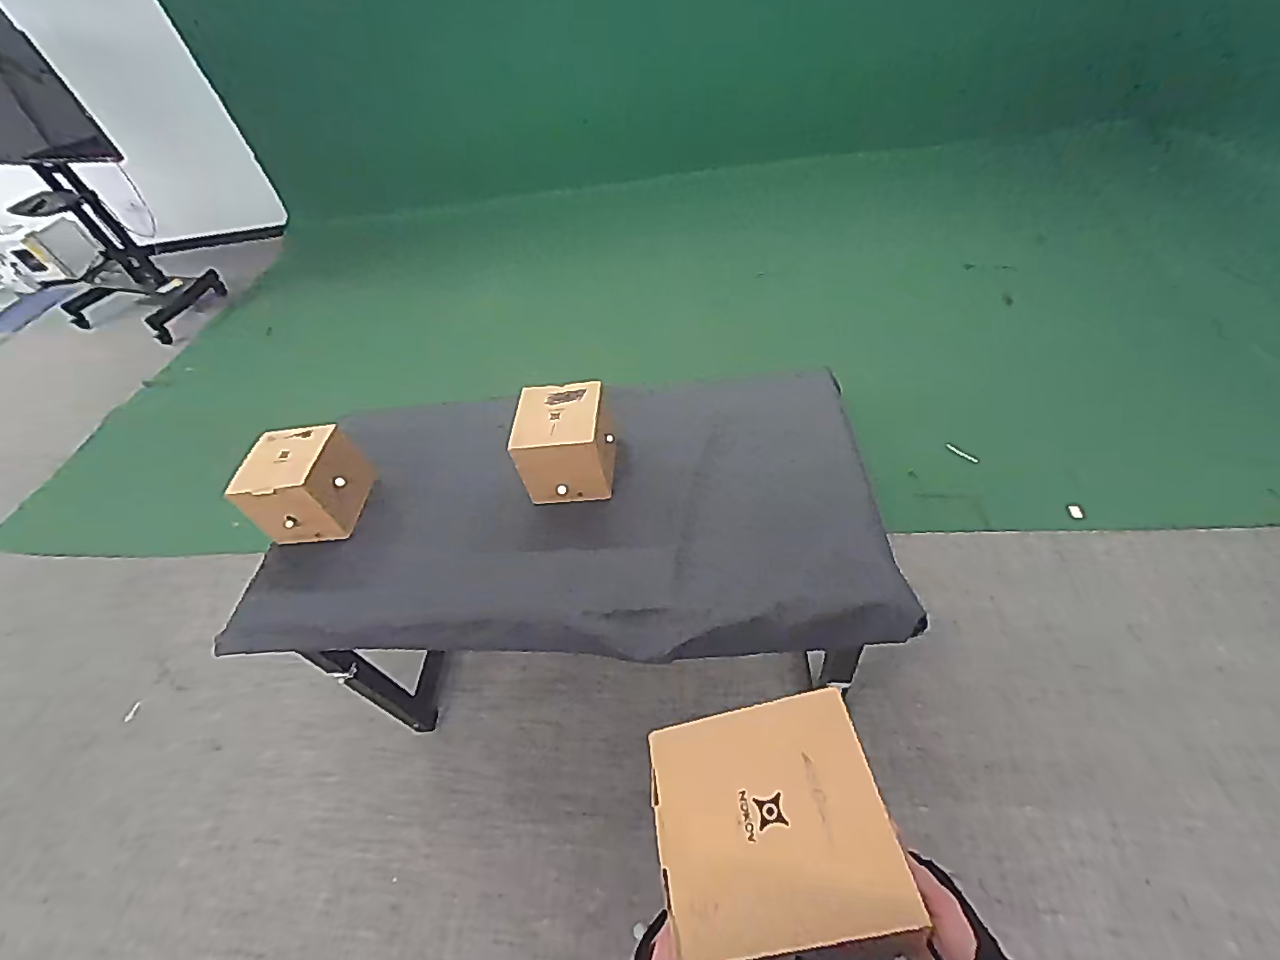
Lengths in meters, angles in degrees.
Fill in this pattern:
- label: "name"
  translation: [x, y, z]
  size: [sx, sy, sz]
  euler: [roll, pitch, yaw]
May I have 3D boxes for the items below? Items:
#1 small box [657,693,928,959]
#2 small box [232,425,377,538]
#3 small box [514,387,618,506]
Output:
- label: "small box"
  translation: [0.128, 0.321, 0.483]
  size: [0.179, 0.176, 0.168]
  euler: [-16, 43, 6]
- label: "small box"
  translation: [-0.686, 0.011, 1.133]
  size: [0.168, 0.176, 0.179]
  euler: [-5, 49, 5]
- label: "small box"
  translation: [-0.140, -0.066, 1.102]
  size: [0.168, 0.176, 0.179]
  euler: [-3, 50, 8]
